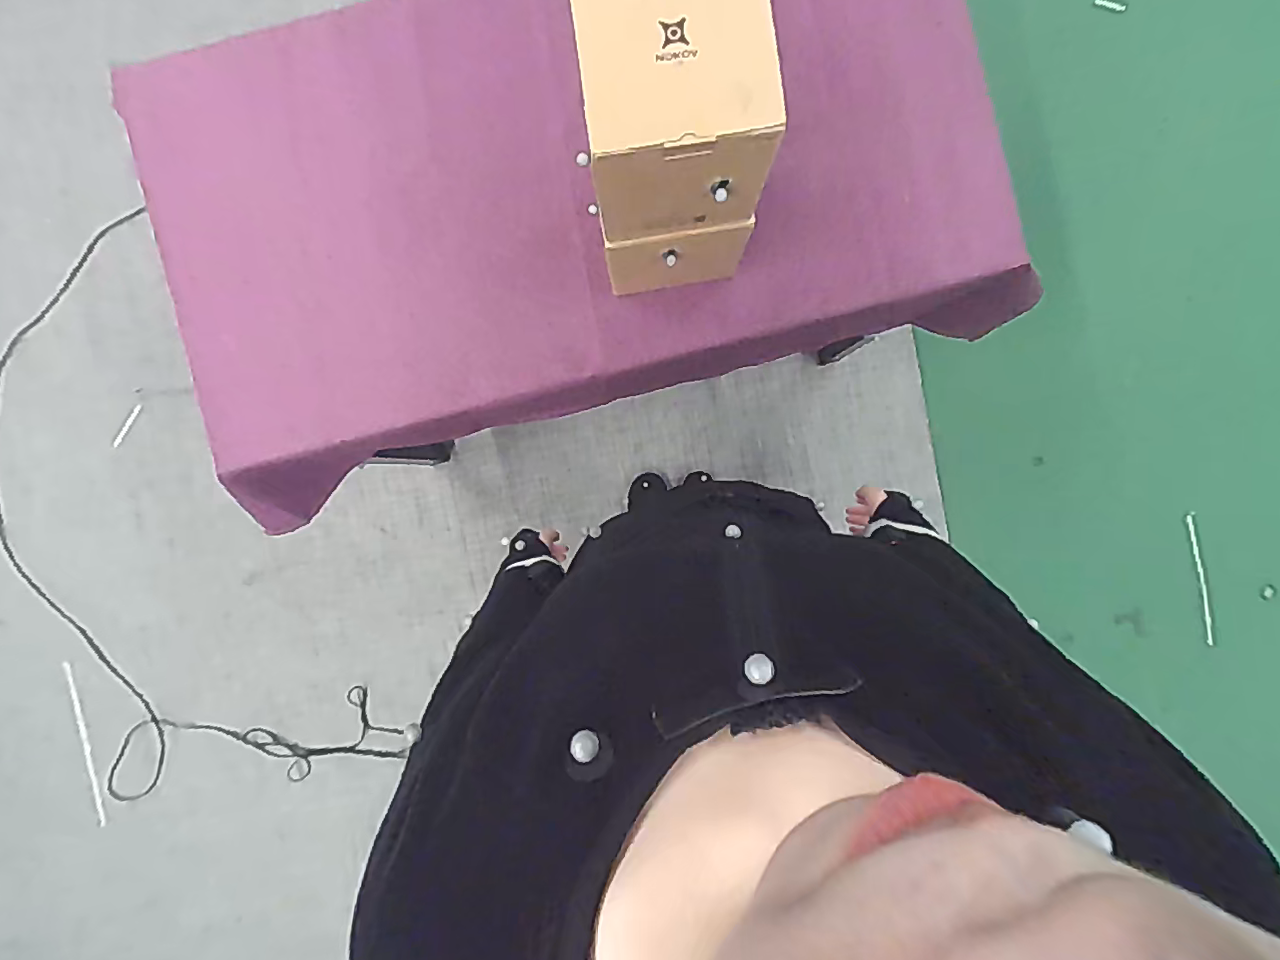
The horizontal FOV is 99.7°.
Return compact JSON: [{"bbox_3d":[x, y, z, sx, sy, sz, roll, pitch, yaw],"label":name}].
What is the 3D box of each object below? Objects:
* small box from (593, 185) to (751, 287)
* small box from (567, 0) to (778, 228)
[{"bbox_3d":[0.034,-0.362,0.692,0.179,0.176,0.168,-8,91,2],"label":"small box"},{"bbox_3d":[0.028,-0.368,0.529,0.168,0.176,0.179,-7,90,1],"label":"small box"}]
